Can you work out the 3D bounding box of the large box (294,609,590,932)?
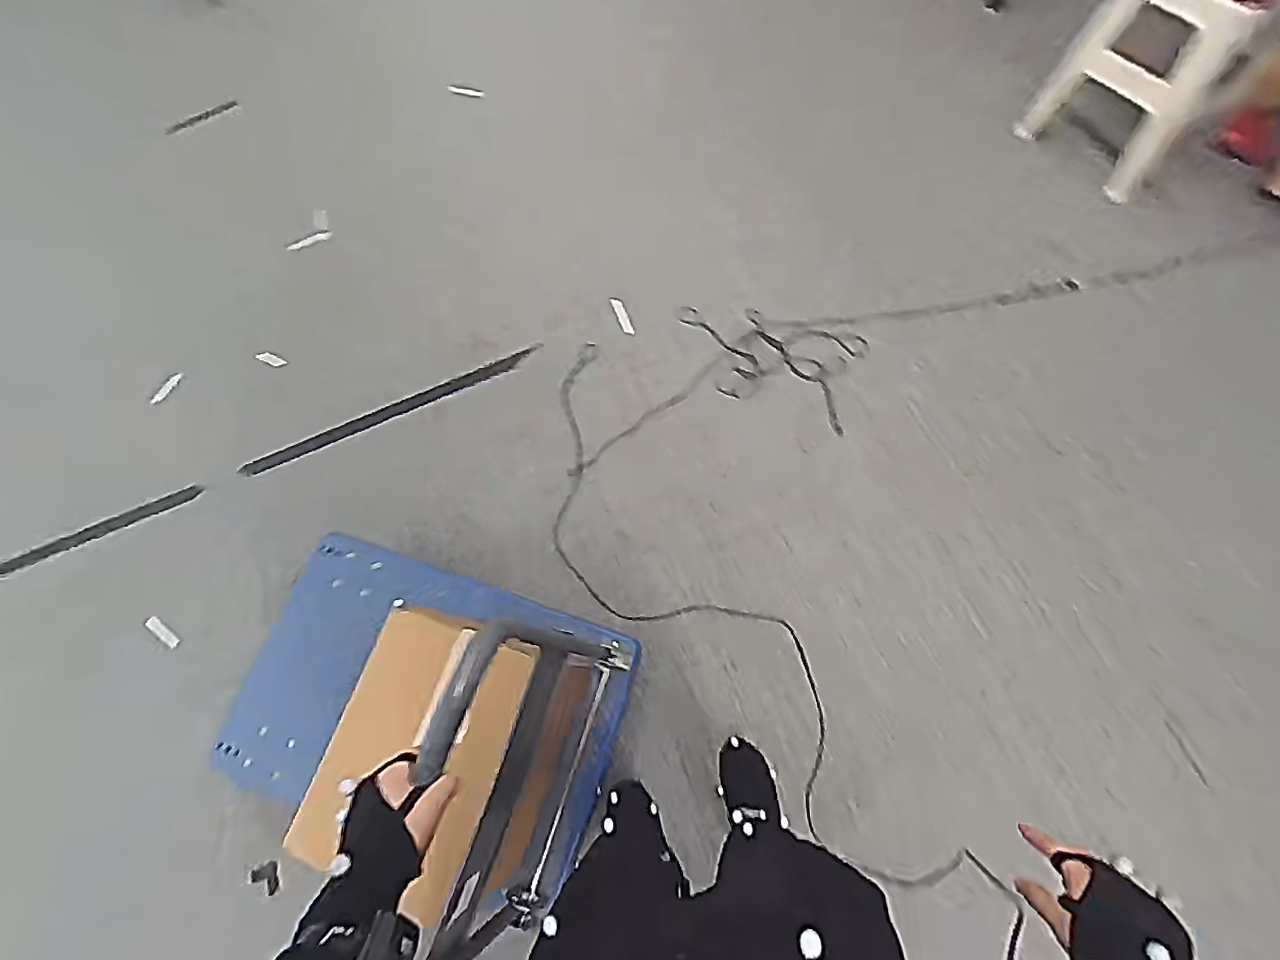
[{"bbox_3d":[-0.331,0.503,1.020,0.320,0.320,0.408,16,72,14],"label":"large box"}]
